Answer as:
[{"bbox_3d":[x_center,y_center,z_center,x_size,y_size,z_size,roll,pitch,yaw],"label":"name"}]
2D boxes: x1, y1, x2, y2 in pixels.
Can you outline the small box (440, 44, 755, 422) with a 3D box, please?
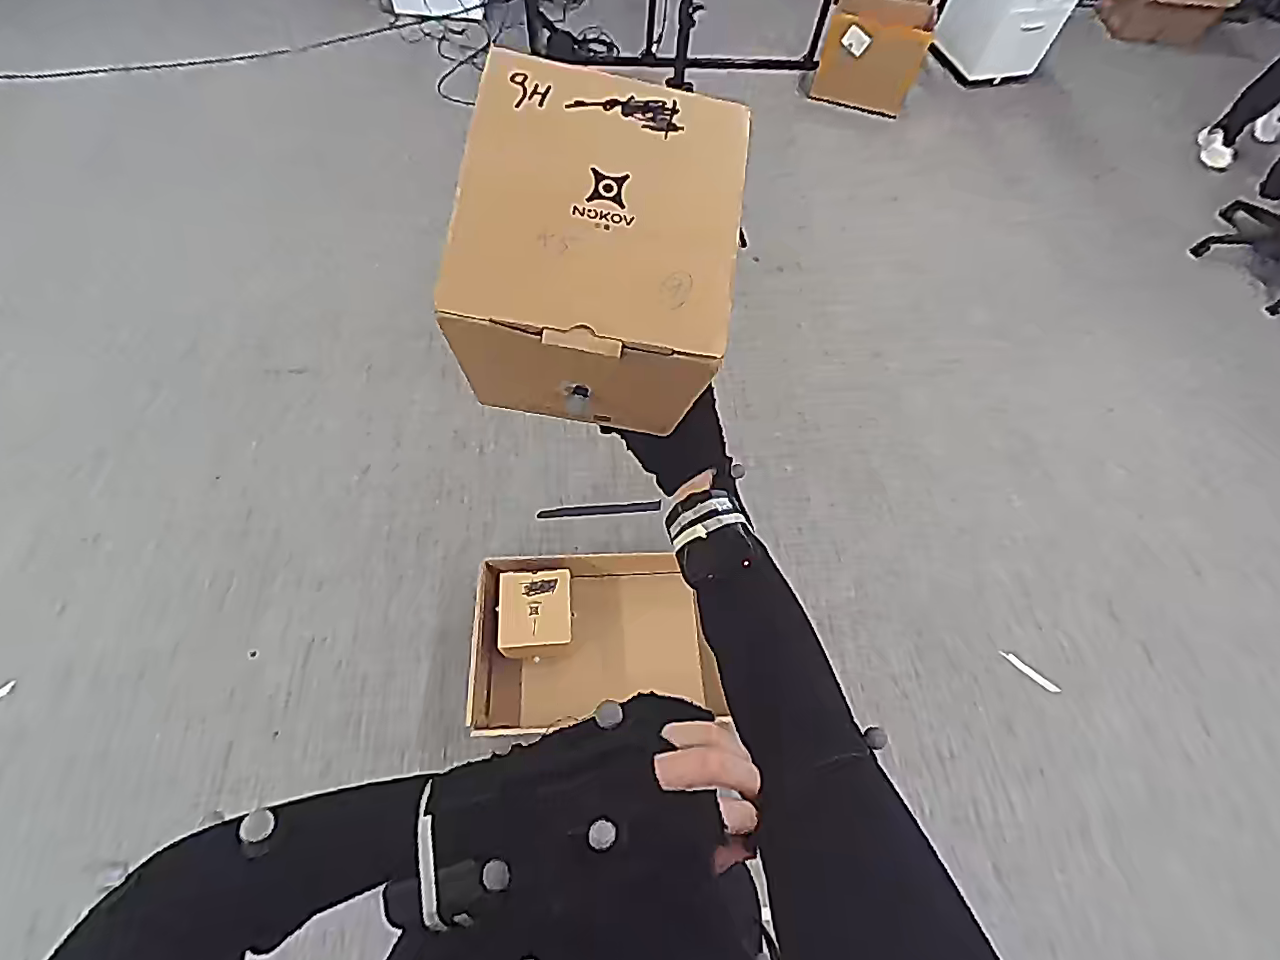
[{"bbox_3d":[-0.029,-0.152,0.394,0.168,0.176,0.179,9,80,-6],"label":"small box"}]
